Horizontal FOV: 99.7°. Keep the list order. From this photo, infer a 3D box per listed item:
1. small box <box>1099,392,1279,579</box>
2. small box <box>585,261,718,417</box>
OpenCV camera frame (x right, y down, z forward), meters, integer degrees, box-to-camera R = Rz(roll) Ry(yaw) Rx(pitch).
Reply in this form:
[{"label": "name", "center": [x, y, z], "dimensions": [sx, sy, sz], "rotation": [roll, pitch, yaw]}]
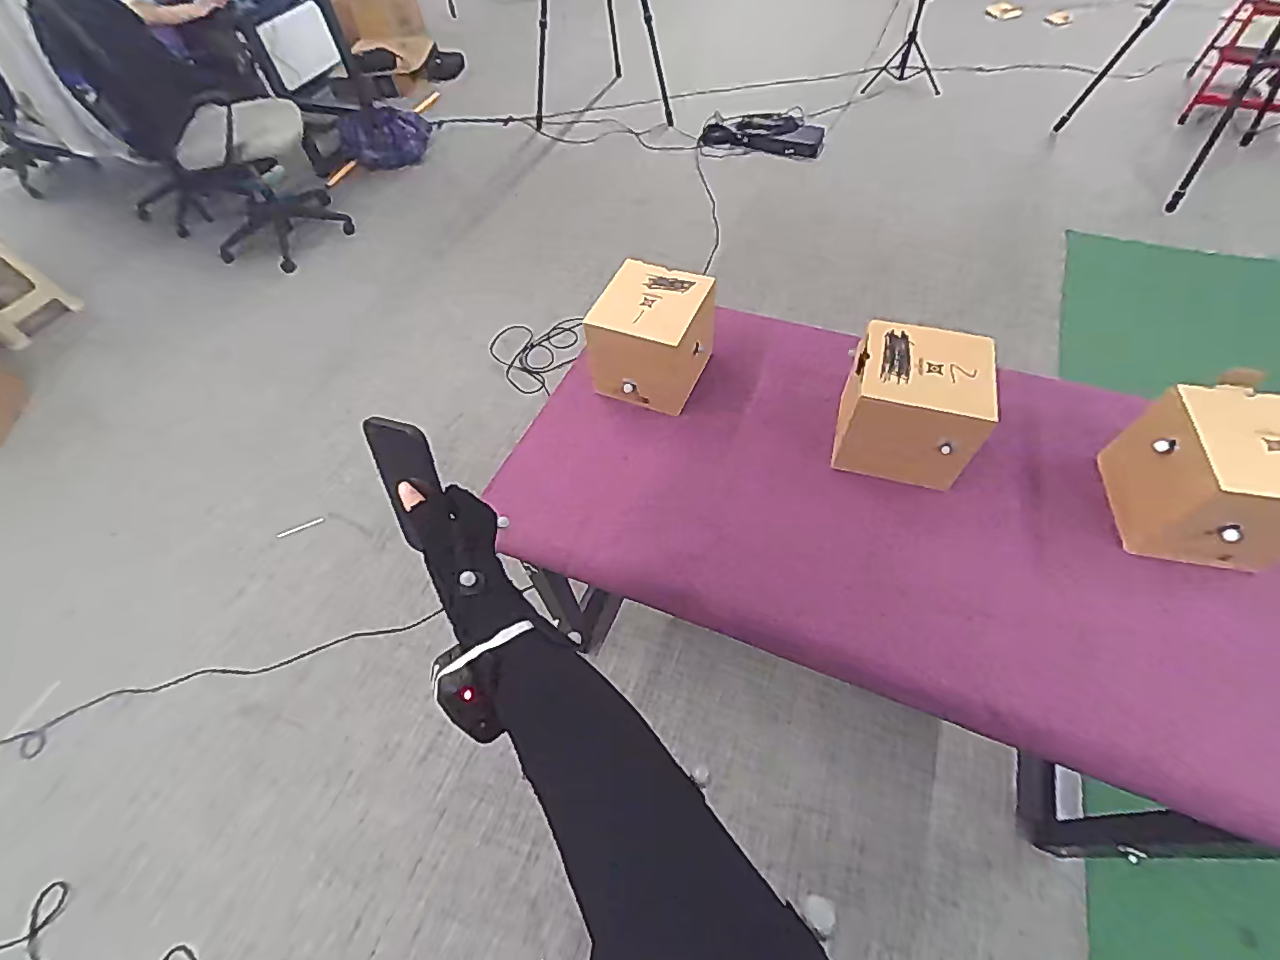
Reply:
[{"label": "small box", "center": [0.765, 0.012, 0.716], "dimensions": [0.168, 0.176, 0.179], "rotation": [9, 56, 11]}, {"label": "small box", "center": [0.024, -0.242, 0.939], "dimensions": [0.168, 0.176, 0.179], "rotation": [19, 60, 16]}]
